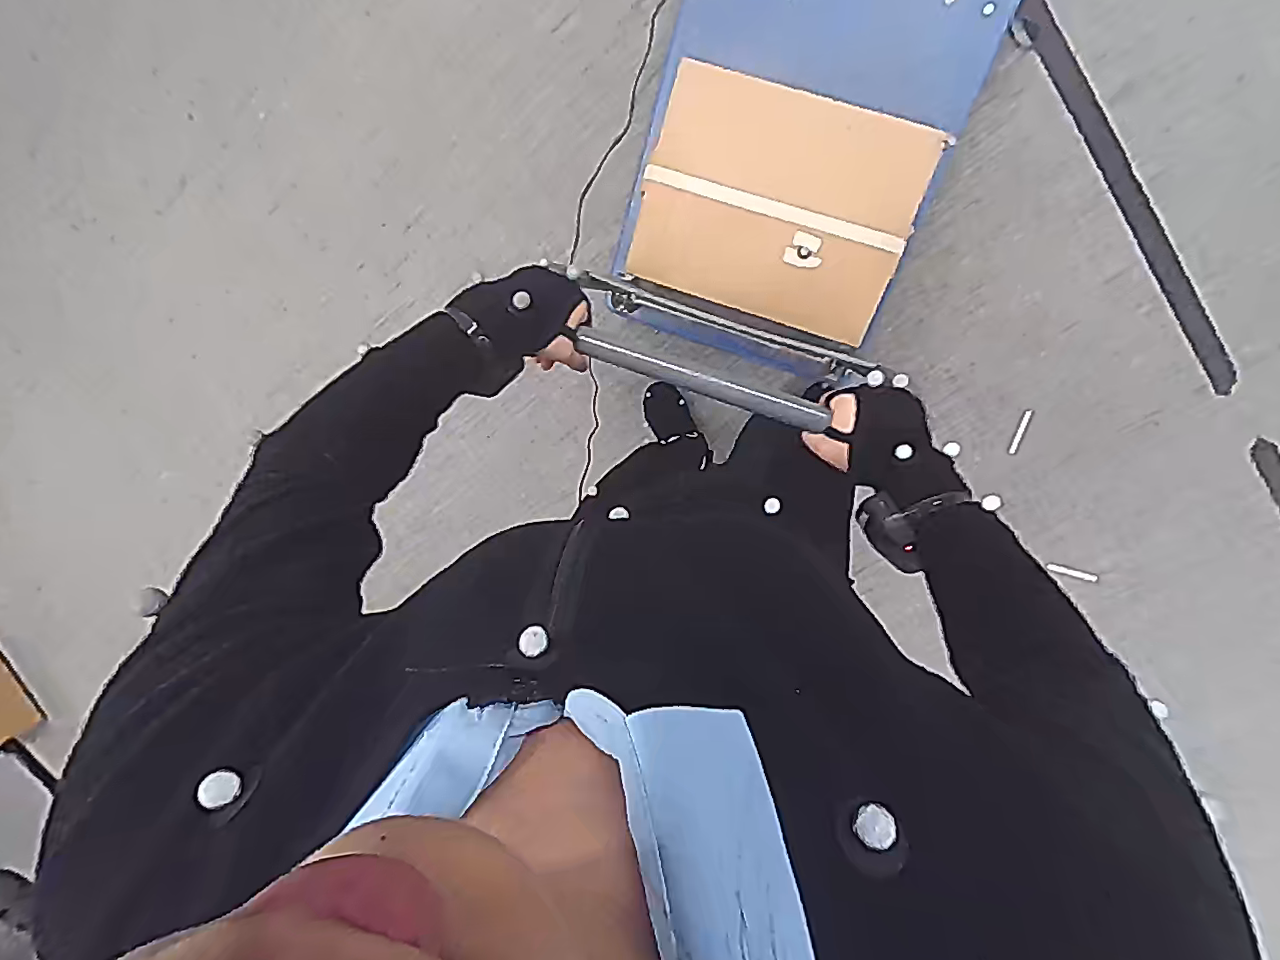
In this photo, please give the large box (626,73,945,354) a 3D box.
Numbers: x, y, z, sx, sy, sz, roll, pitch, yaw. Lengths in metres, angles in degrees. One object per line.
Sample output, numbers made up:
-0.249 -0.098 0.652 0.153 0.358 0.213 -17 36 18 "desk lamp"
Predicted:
0.226 -0.440 0.963 0.408 0.320 0.320 19 110 4 "large box"
